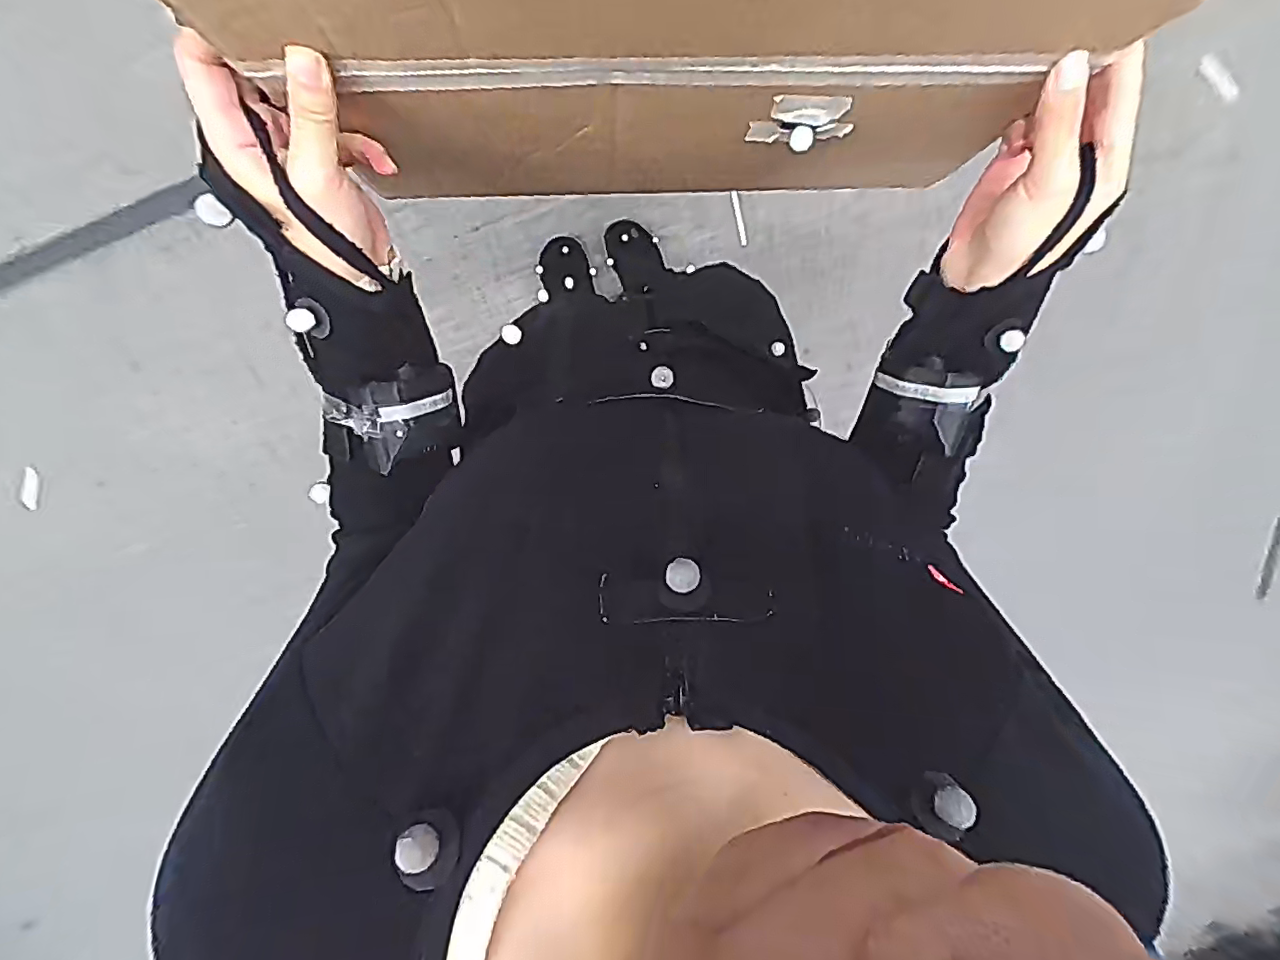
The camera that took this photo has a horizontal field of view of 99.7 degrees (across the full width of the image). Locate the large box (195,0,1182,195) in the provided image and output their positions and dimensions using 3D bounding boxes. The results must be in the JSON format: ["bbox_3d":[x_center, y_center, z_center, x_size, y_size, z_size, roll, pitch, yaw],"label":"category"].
[{"bbox_3d":[0.015,-0.347,0.233,0.408,0.320,0.320,-3,99,-3],"label":"large box"}]
